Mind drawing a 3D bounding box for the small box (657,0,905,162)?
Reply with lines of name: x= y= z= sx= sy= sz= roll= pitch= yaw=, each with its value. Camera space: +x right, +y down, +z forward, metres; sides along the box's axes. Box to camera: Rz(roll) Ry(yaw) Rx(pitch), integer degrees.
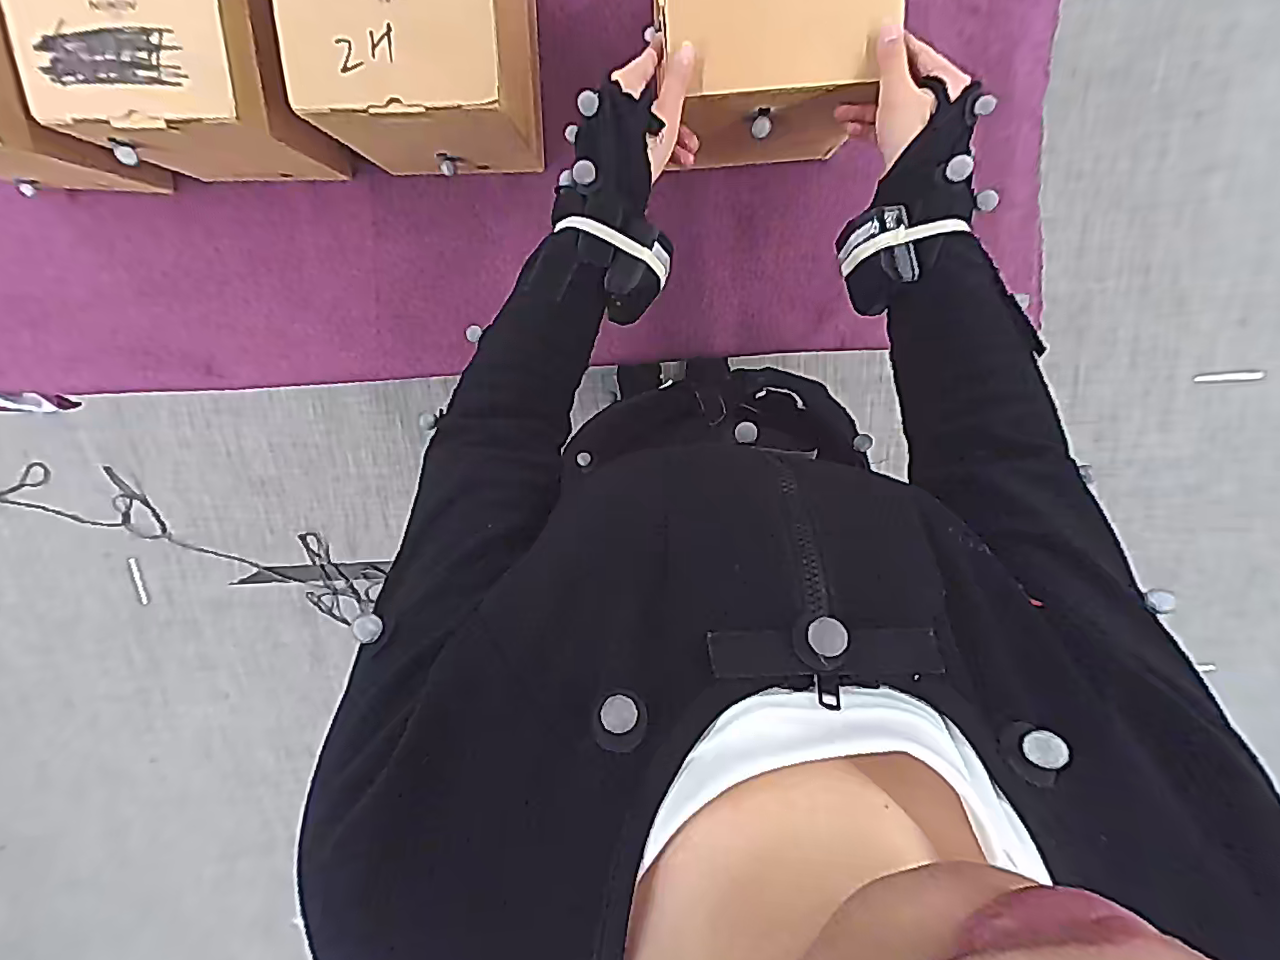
small box: x=0.104 y=-0.390 z=0.459 sx=0.179 sy=0.176 sz=0.168 roll=-3 pitch=104 yaw=4
